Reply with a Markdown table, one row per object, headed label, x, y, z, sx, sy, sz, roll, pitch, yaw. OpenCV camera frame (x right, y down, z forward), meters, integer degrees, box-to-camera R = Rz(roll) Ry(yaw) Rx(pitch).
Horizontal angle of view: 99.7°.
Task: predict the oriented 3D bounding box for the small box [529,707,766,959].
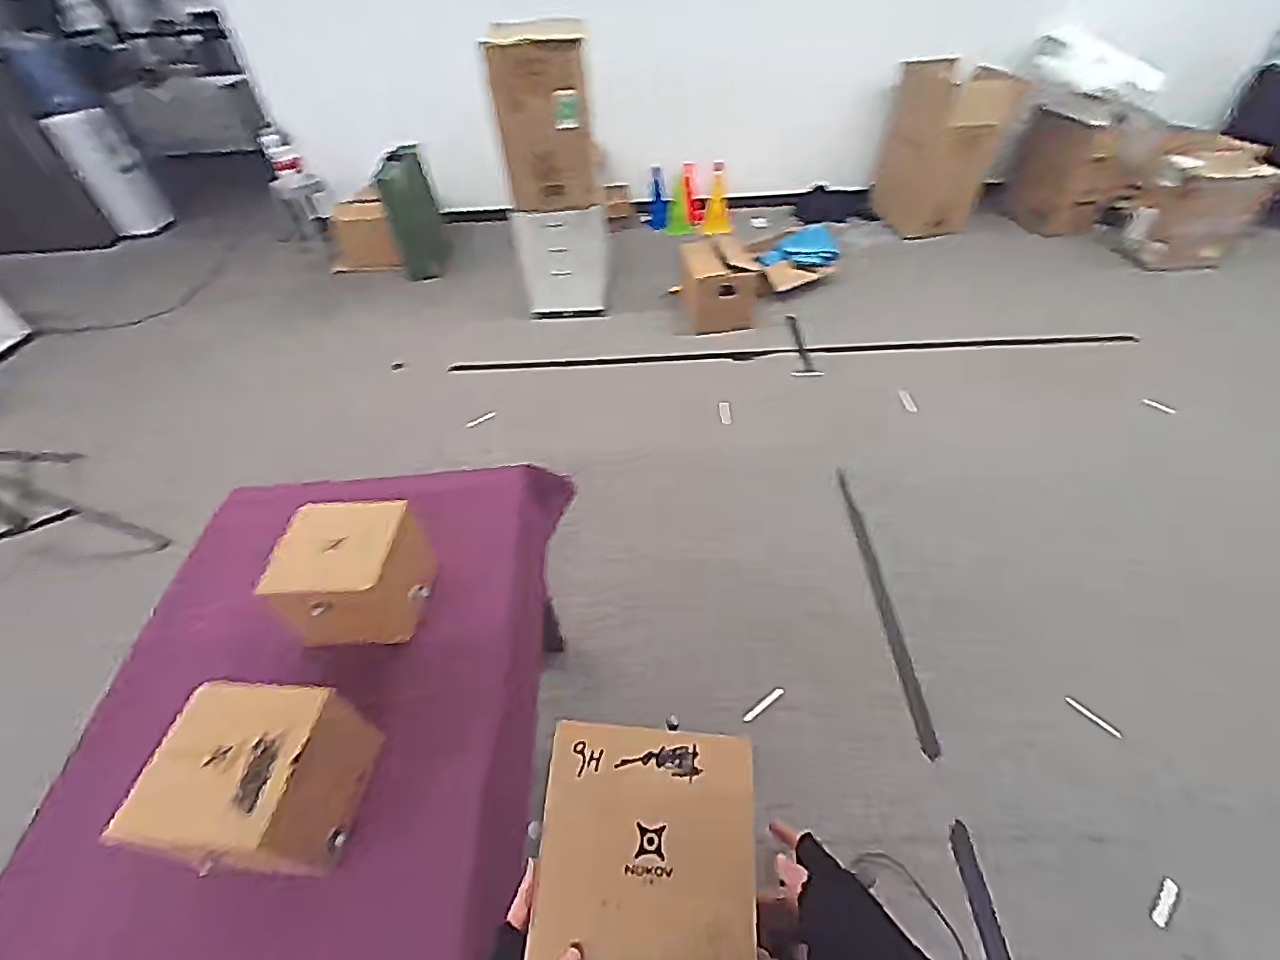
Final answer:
| label | x | y | z | sx | sy | sz | roll | pitch | yaw |
| --- | --- | --- | --- | --- | --- | --- | --- | --- | --- |
| small box | 0.007 | 0.309 | 0.479 | 0.168 | 0.176 | 0.179 | 8 | 63 | -2 |

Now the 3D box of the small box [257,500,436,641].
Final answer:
| label | x | y | z | sx | sy | sz | roll | pitch | yaw |
| --- | --- | --- | --- | --- | --- | --- | --- | --- | --- |
| small box | -0.459 | 0.151 | 0.881 | 0.179 | 0.176 | 0.168 | -2 | 47 | 1 |

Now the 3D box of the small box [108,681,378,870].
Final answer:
| label | x | y | z | sx | sy | sz | roll | pitch | yaw |
| --- | --- | --- | --- | --- | --- | --- | --- | --- | --- |
| small box | -0.461 | 0.367 | 0.669 | 0.179 | 0.176 | 0.168 | 0 | 46 | 6 |
